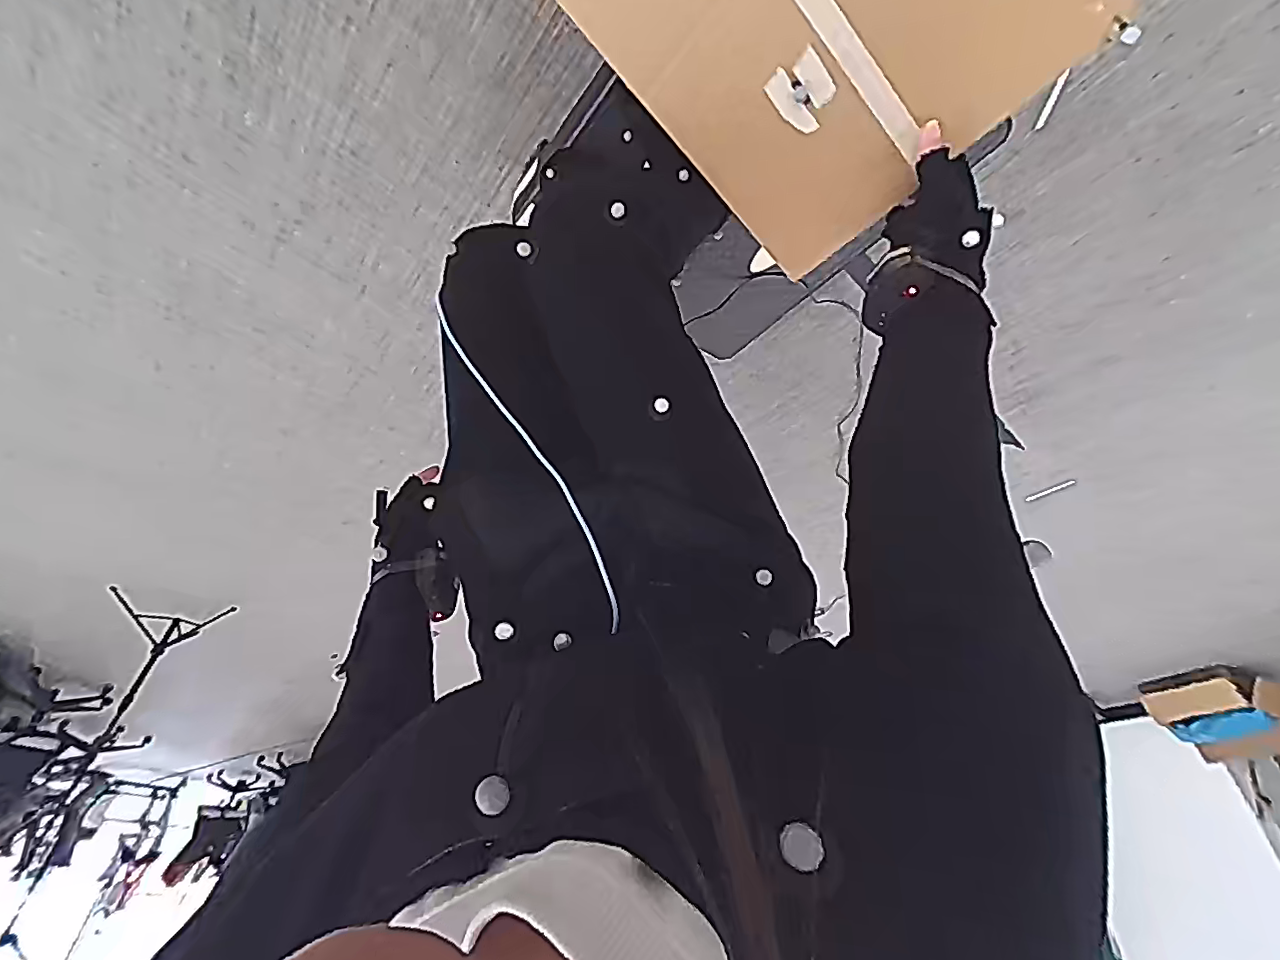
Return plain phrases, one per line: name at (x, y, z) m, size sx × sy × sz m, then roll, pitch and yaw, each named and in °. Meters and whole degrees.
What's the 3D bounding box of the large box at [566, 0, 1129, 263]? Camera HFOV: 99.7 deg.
large box at (0.168, -0.519, 0.538) m, size 0.408 × 0.320 × 0.320 m, roll 41°, pitch 135°, yaw -19°
